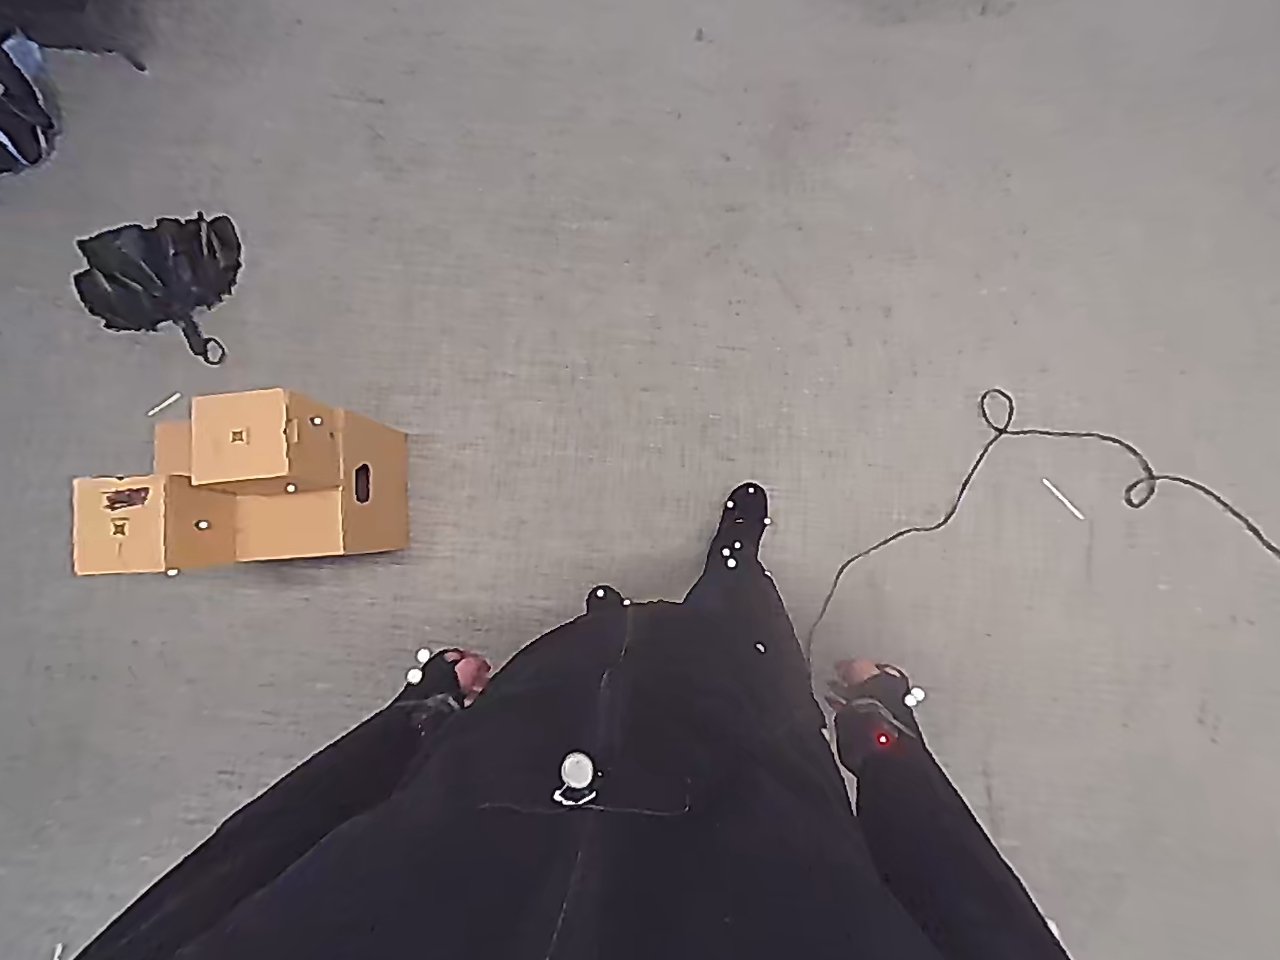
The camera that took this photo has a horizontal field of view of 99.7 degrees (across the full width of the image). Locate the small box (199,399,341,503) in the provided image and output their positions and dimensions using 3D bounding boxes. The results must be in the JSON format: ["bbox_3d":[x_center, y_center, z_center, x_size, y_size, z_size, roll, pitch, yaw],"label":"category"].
[{"bbox_3d":[-0.713,-0.050,1.062,0.179,0.176,0.168,-7,81,1],"label":"small box"}]

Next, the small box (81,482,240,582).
[{"bbox_3d":[-0.915,0.099,1.048,0.168,0.176,0.179,-2,87,1],"label":"small box"}]
